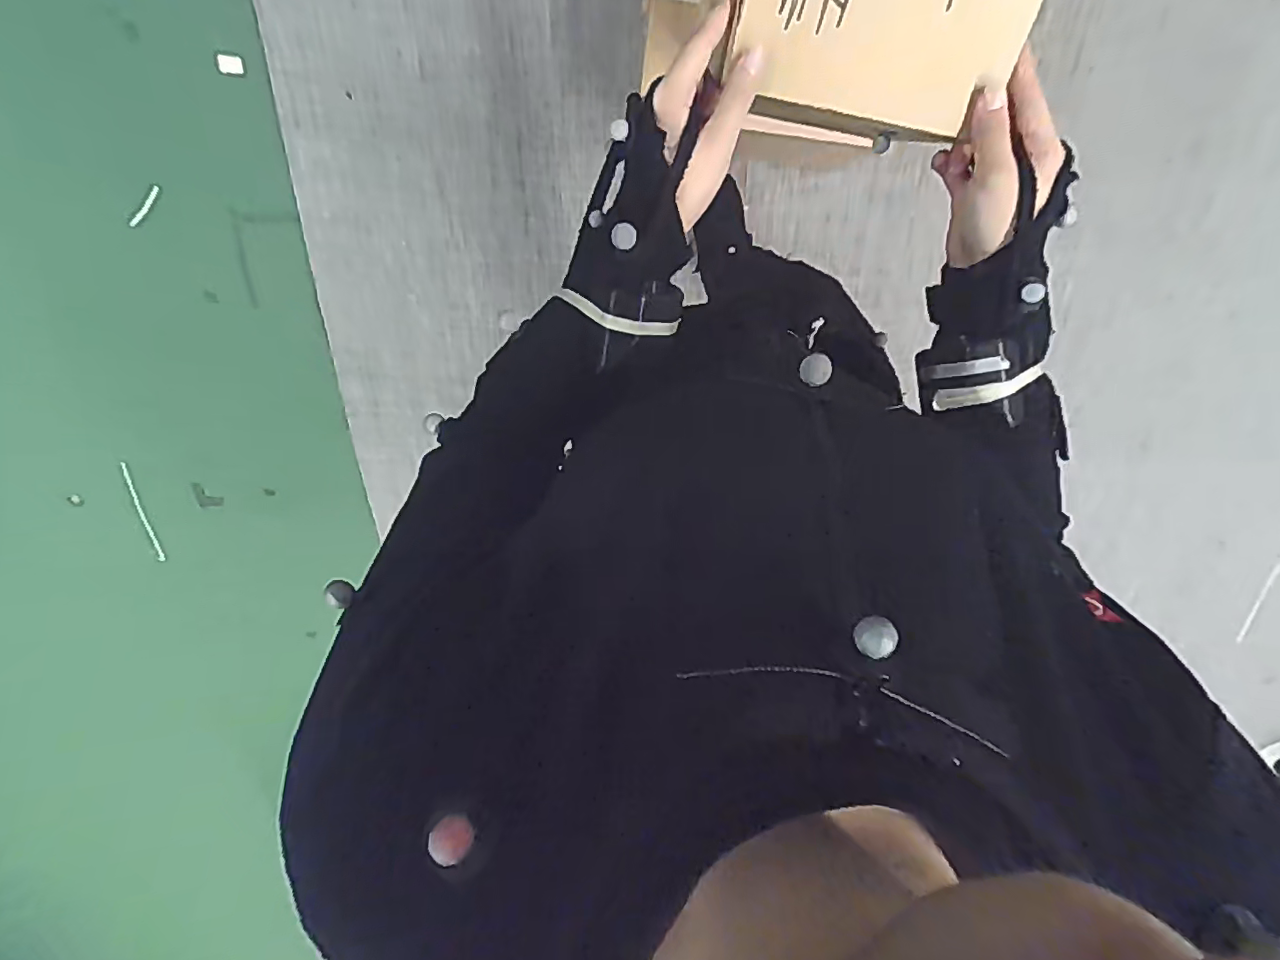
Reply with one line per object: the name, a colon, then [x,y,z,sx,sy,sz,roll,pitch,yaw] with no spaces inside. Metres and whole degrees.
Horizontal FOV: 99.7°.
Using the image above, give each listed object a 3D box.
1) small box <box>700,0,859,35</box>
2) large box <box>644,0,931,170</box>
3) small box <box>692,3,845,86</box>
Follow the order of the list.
small box: [0.161,-0.587,0.547,0.179,0.176,0.168,6,113,-2]
large box: [0.217,-0.739,0.922,0.408,0.320,0.320,6,115,-2]
small box: [0.170,-0.639,0.702,0.179,0.176,0.168,8,113,-1]
